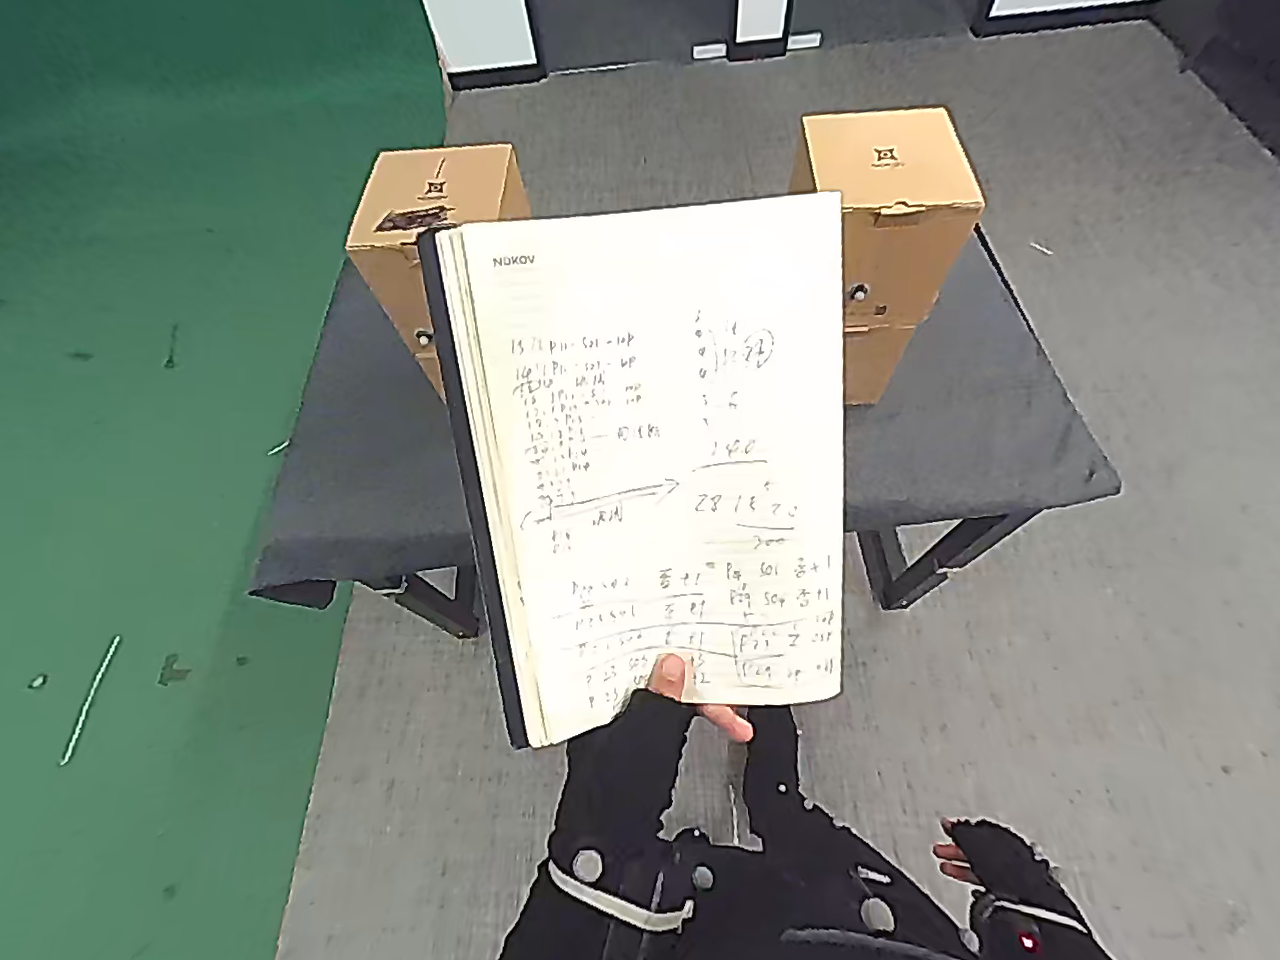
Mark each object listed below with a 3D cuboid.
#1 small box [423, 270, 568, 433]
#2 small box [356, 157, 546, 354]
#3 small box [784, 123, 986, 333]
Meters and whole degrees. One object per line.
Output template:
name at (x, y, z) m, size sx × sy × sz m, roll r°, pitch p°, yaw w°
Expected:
small box at (-0.208, -0.193, 0.831) m, size 0.168 × 0.176 × 0.179 m, roll -4°, pitch 61°, yaw 3°
small box at (-0.222, -0.275, 0.691) m, size 0.168 × 0.176 × 0.179 m, roll -2°, pitch 60°, yaw 3°
small box at (0.280, -0.305, 0.668) m, size 0.168 × 0.176 × 0.179 m, roll -1°, pitch 61°, yaw 4°
